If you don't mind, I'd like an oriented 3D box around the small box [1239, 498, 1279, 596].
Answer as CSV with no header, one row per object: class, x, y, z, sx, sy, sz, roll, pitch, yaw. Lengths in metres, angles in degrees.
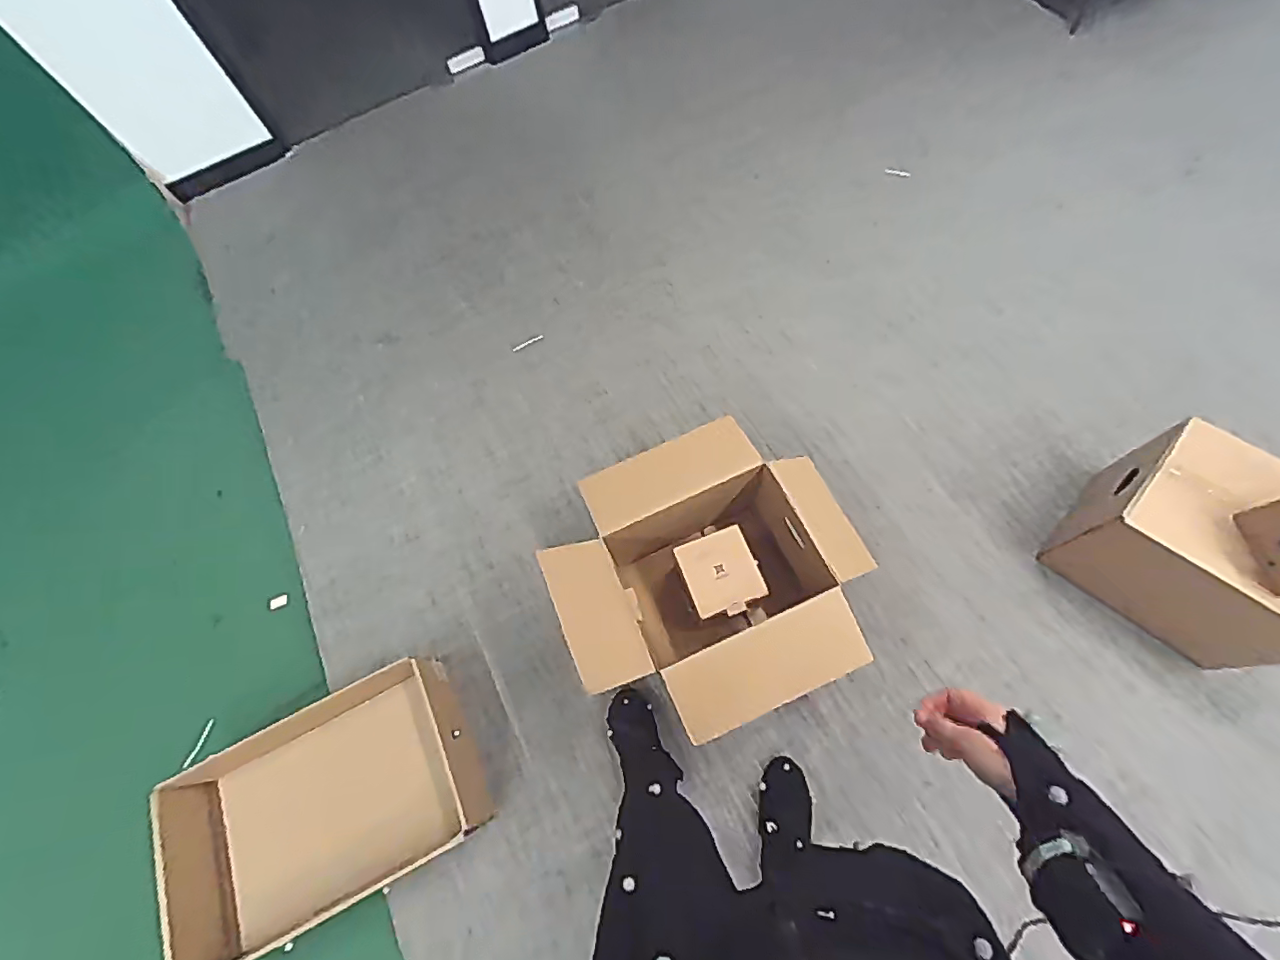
small box,1.229,0.102,0.945,0.179,0.176,0.168,-9,67,4
